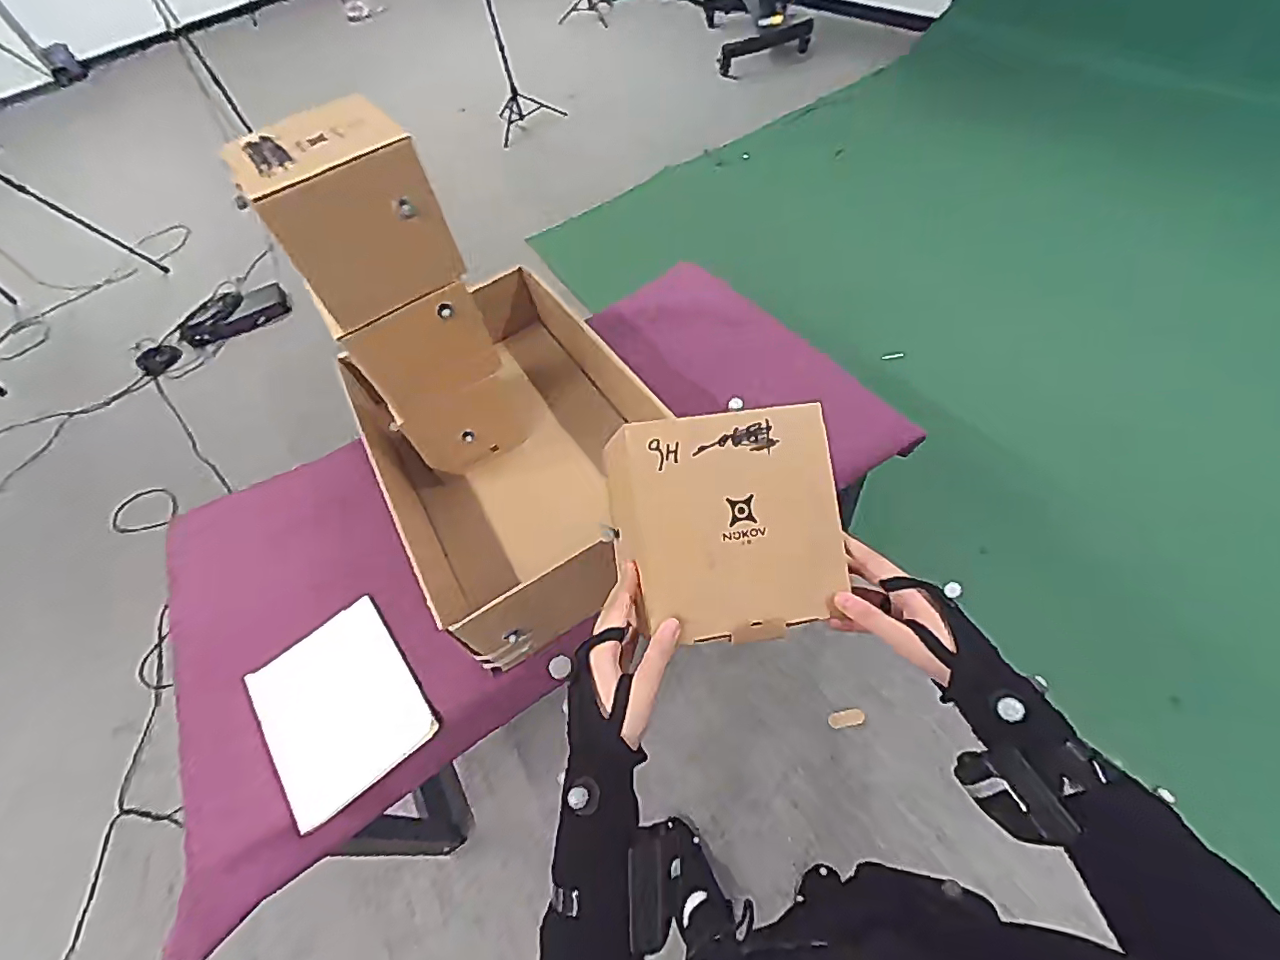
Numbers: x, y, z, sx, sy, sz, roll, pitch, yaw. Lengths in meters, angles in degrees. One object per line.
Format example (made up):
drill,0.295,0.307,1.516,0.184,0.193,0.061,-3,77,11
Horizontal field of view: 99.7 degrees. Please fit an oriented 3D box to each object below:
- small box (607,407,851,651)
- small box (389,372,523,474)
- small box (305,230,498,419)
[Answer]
small box,0.066,0.039,0.500,0.168,0.176,0.179,-7,87,-10
small box,-0.323,-0.132,0.923,0.168,0.176,0.179,-31,58,-12
small box,-0.338,-0.222,0.789,0.179,0.176,0.168,-33,58,-13
